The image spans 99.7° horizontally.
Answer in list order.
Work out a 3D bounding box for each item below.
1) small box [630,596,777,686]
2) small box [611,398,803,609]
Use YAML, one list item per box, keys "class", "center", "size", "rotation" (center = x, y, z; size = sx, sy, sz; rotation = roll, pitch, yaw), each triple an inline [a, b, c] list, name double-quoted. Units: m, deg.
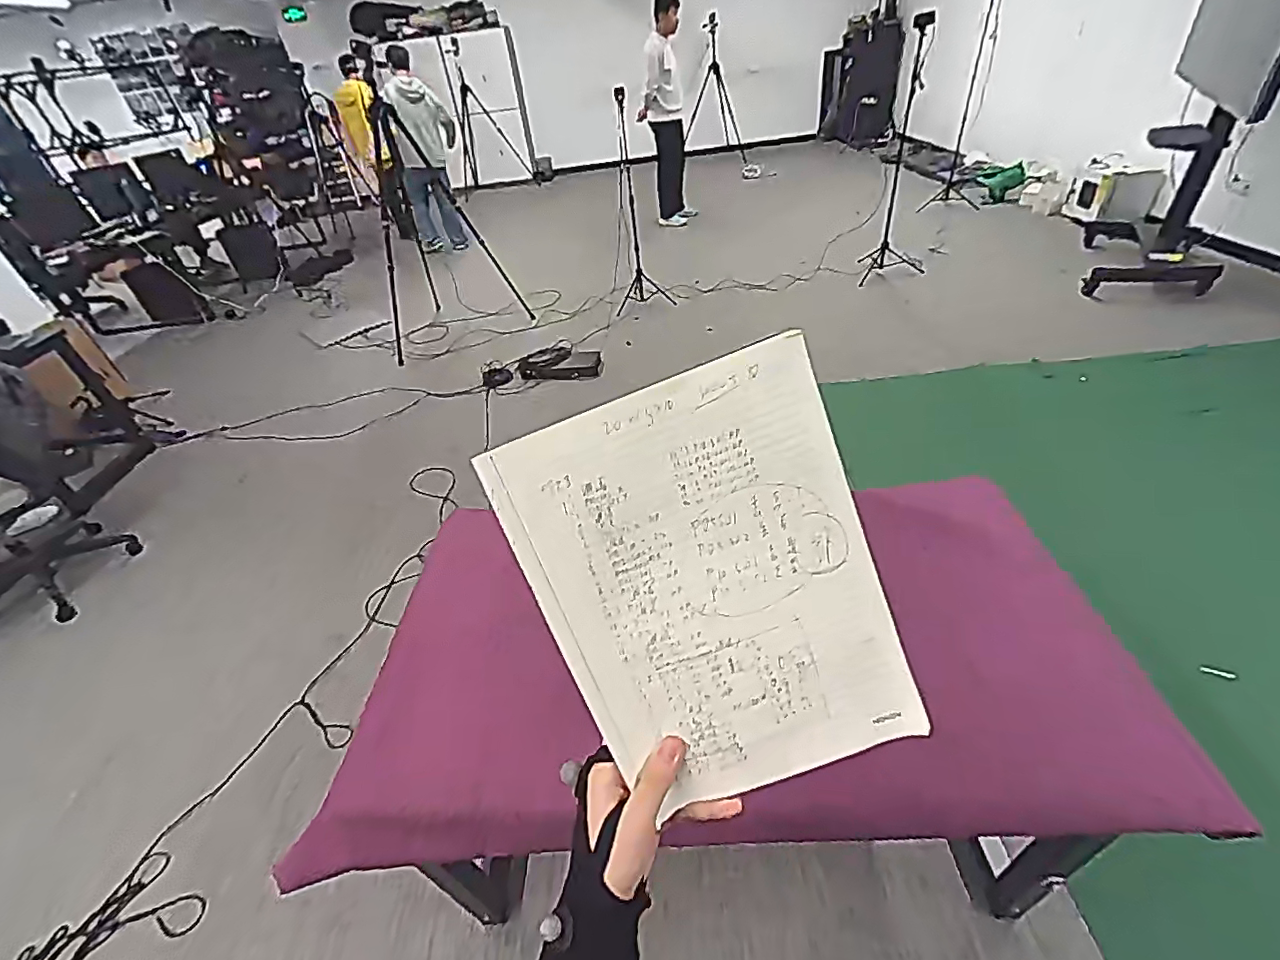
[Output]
- class: "small box"
  center: [0.082, 0.153, 0.705]
  size: [0.168, 0.176, 0.179]
  rotation: [-5, 37, 5]
- class: "small box"
  center: [0.072, 0.027, 0.599]
  size: [0.179, 0.176, 0.168]
  rotation: [-3, 37, 7]
